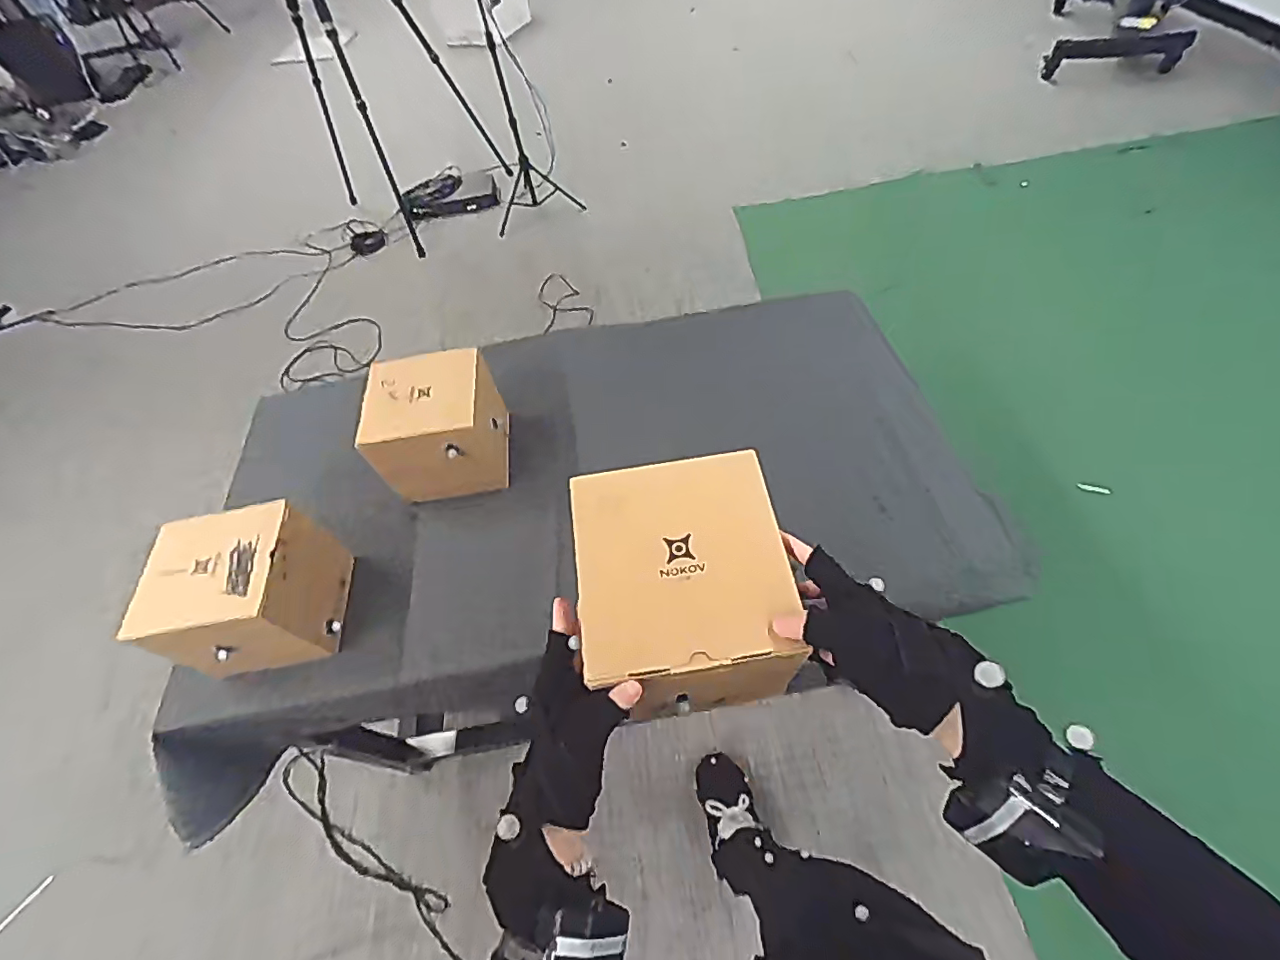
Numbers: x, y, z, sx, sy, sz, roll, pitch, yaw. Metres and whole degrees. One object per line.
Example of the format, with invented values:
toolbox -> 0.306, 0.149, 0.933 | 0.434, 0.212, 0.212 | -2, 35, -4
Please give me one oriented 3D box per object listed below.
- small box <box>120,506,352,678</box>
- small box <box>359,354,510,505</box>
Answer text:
small box -> -0.531, 0.159, 0.747 | 0.179, 0.176, 0.168 | -11, 55, 0
small box -> -0.318, -0.076, 0.880 | 0.179, 0.176, 0.168 | -9, 56, 1
